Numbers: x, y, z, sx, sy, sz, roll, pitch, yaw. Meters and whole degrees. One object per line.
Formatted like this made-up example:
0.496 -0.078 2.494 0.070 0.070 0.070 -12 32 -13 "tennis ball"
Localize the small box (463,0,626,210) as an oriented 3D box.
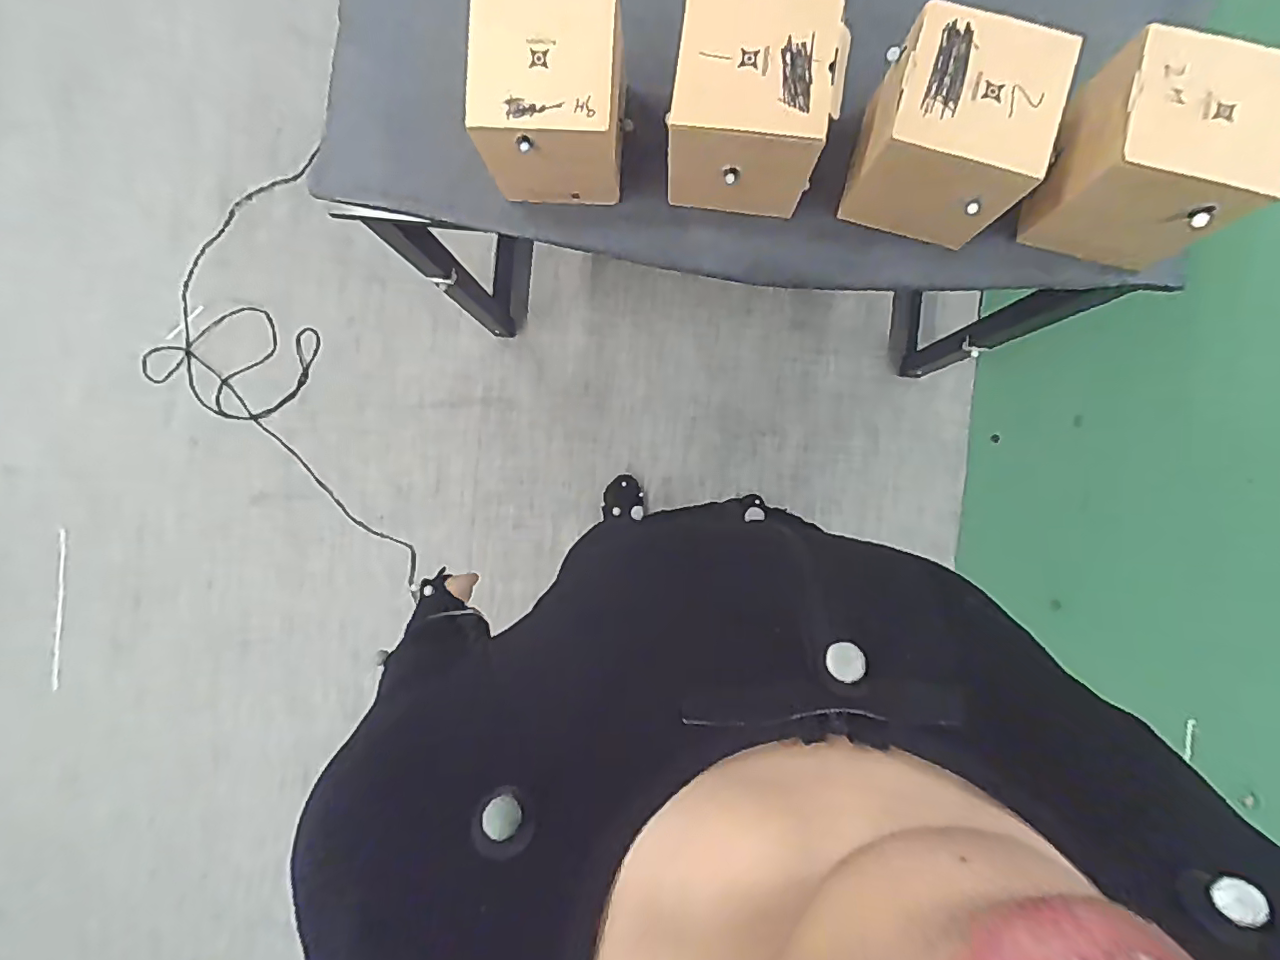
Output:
-0.109 -0.476 0.686 0.168 0.176 0.179 4 90 3 "small box"
